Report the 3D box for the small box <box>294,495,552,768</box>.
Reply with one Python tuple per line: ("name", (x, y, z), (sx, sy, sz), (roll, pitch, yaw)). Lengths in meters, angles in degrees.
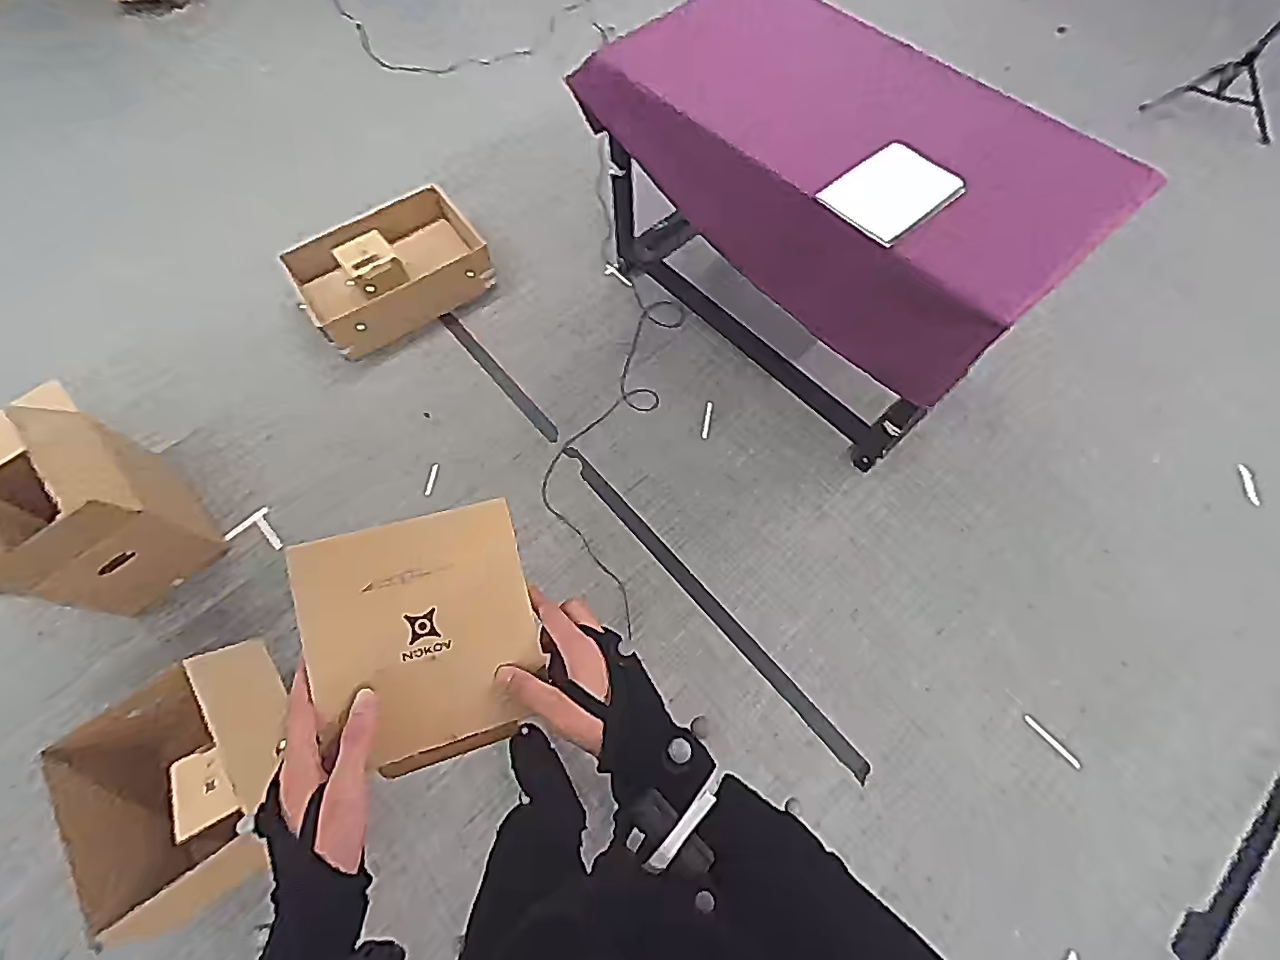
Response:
("small box", (-0.181, 0.121, 0.494), (0.168, 0.176, 0.179), (-12, 84, -15))
